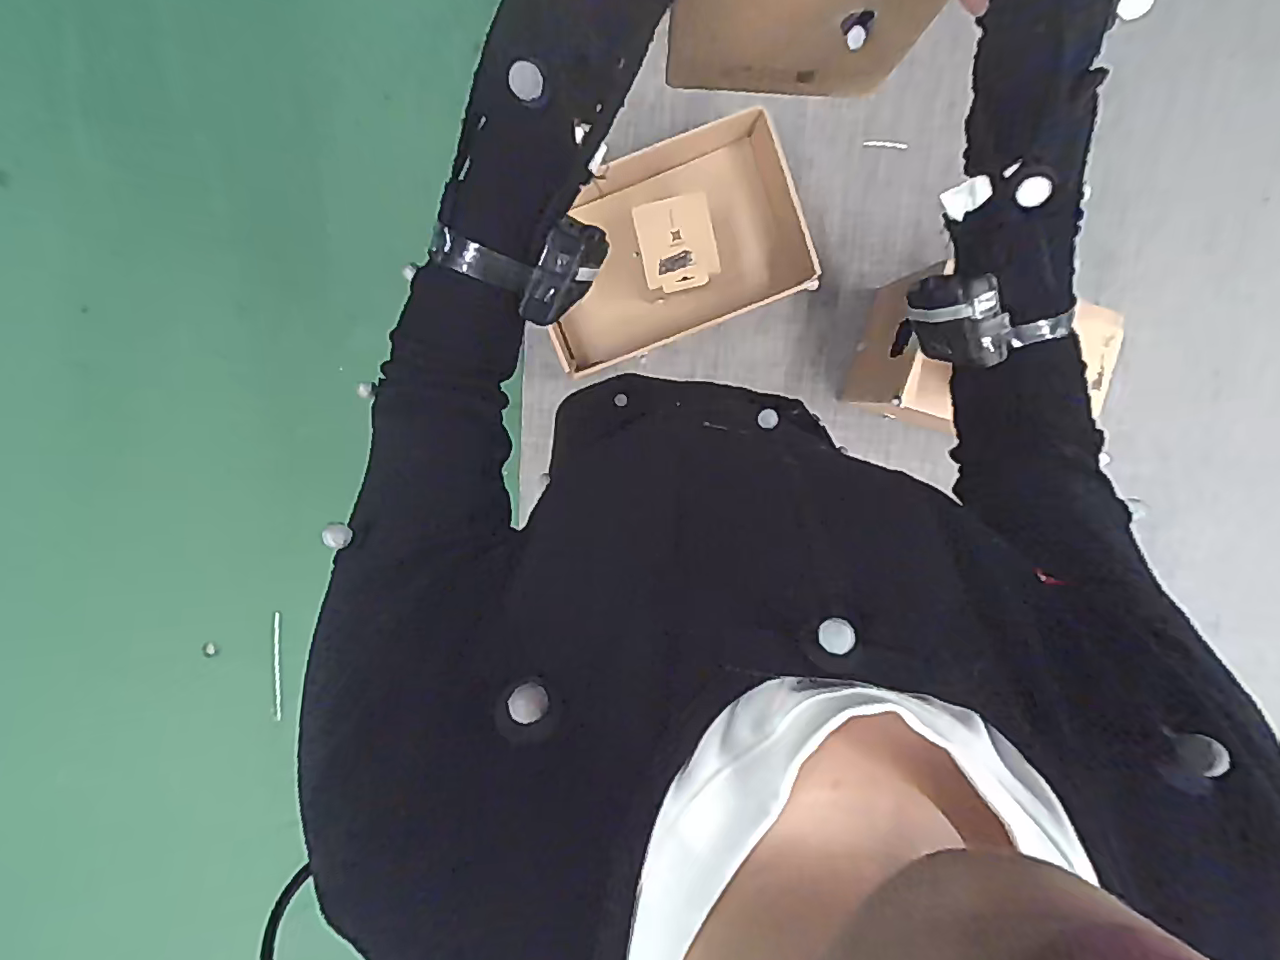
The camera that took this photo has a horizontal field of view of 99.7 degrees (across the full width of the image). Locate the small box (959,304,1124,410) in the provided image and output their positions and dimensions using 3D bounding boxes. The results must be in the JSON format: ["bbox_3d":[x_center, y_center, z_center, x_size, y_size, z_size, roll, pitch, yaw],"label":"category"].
[{"bbox_3d":[0.765,-0.232,1.052,0.179,0.176,0.168,10,99,-3],"label":"small box"}]

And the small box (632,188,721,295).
[{"bbox_3d":[0.082,-0.537,1.247,0.168,0.176,0.179,-13,98,1],"label":"small box"}]
